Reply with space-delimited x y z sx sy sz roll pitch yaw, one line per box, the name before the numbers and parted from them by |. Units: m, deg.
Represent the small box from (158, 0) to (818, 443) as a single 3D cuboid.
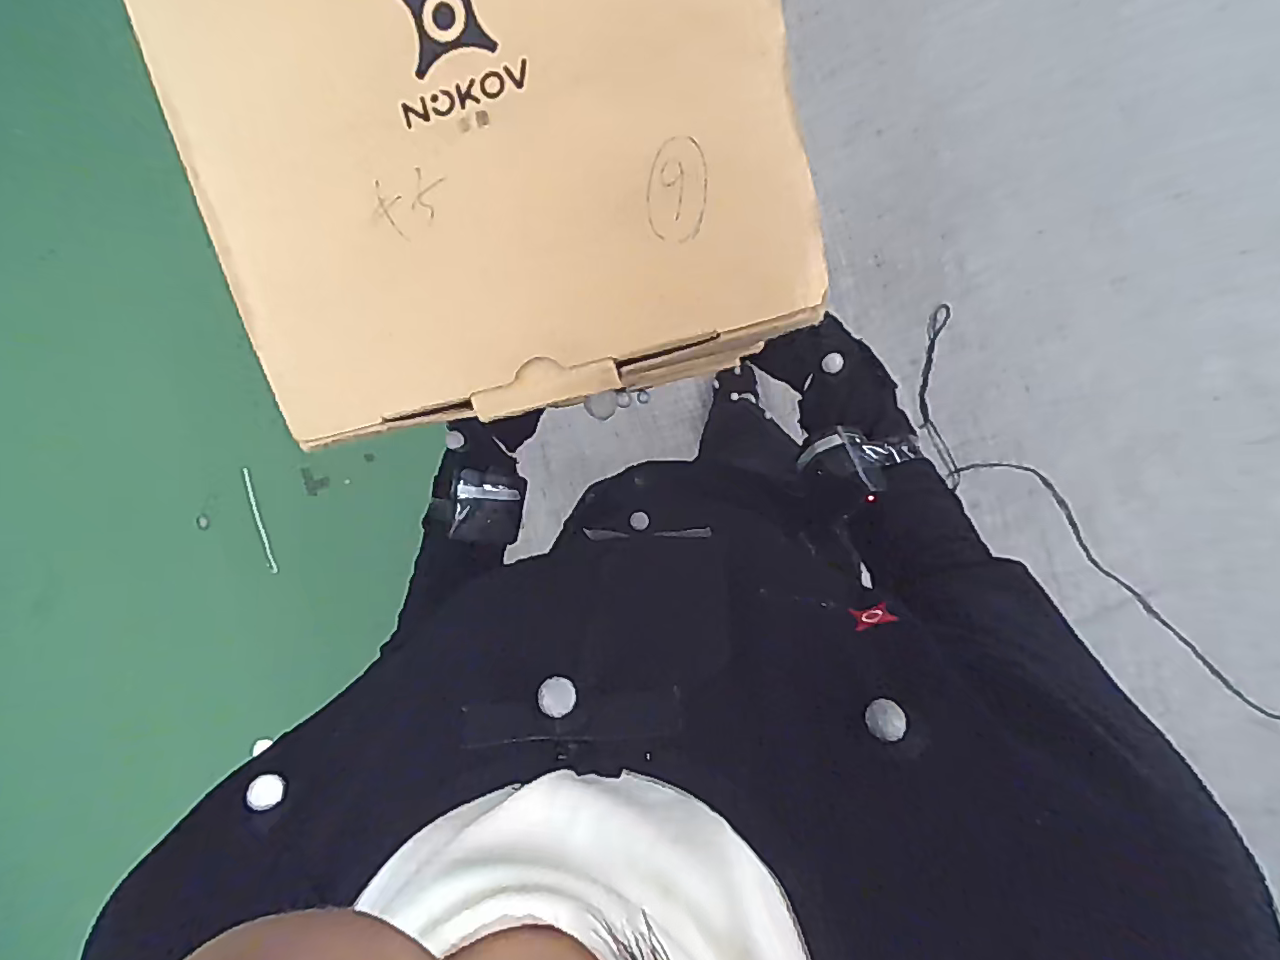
small box | -0.037 -0.129 0.227 0.168 0.176 0.179 -13 102 8
